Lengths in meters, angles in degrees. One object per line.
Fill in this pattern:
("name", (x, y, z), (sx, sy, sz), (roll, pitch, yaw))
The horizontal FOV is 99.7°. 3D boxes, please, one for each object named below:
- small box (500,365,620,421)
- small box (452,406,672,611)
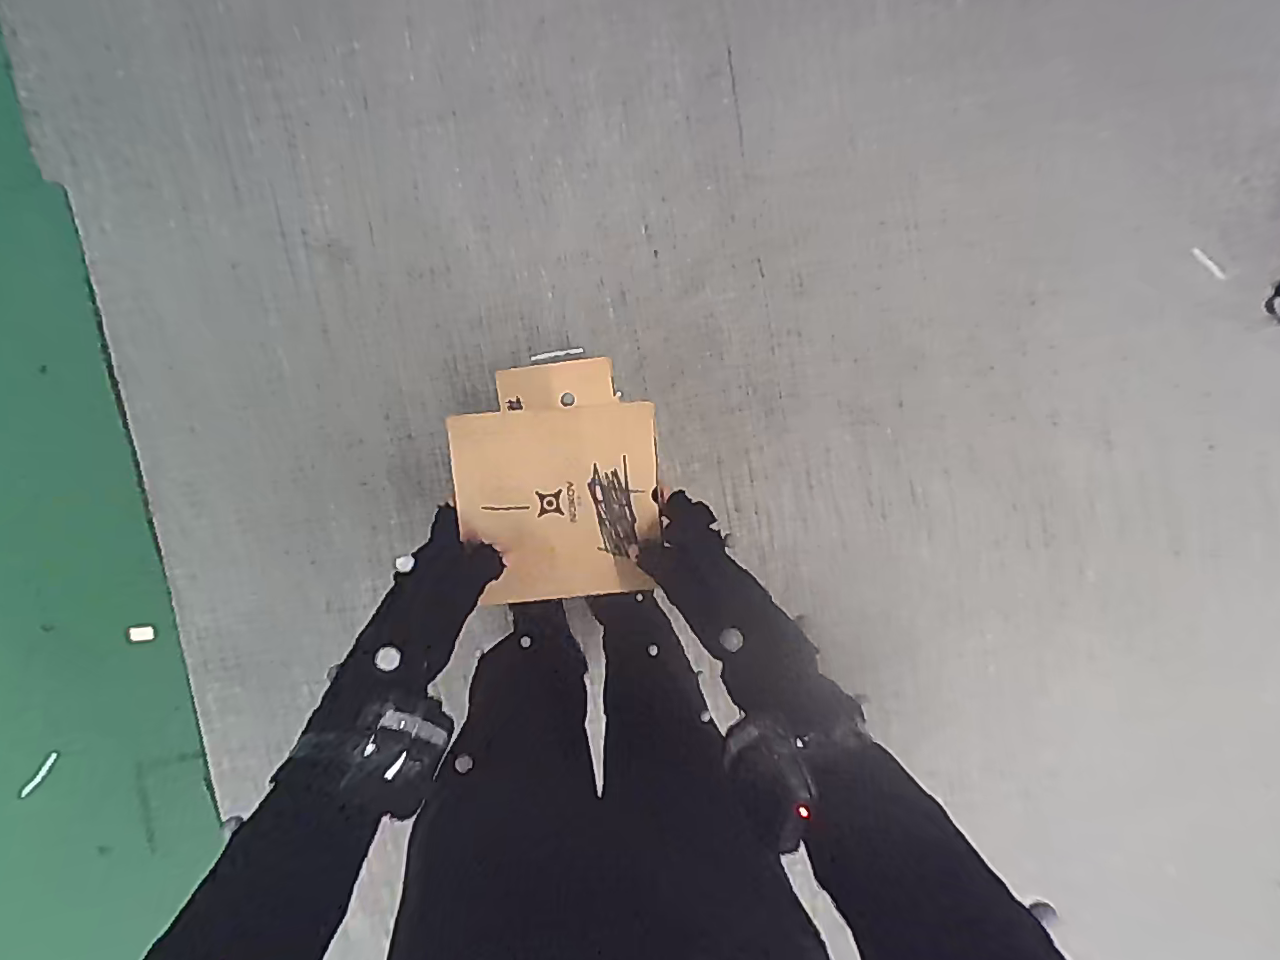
("small box", (-0.120, -0.091, 0.897), (0.179, 0.176, 0.168), (-7, 94, -2))
("small box", (-0.074, 0.016, 0.552), (0.179, 0.176, 0.168), (-8, 96, -5))
